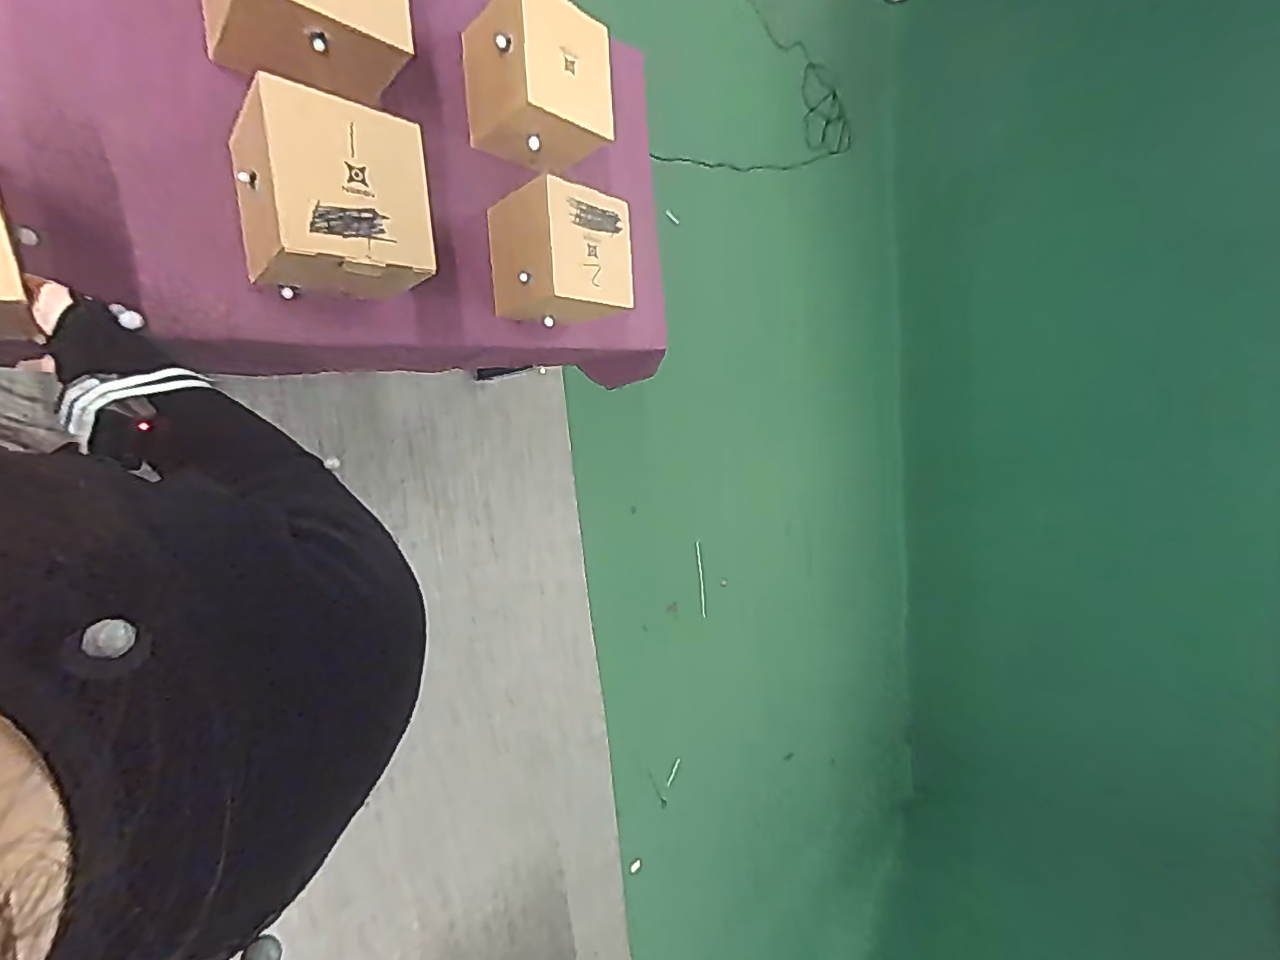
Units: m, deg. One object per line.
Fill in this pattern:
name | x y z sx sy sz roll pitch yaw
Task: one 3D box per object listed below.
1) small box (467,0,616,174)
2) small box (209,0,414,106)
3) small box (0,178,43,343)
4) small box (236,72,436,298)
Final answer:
small box | -0.158 -0.622 0.858 0.168 0.176 0.179 -8 96 -44
small box | -0.390 -0.578 0.631 0.179 0.176 0.168 -8 98 -45
small box | -0.610 -0.210 0.420 0.168 0.176 0.179 -16 101 -43
small box | -0.369 -0.330 0.656 0.168 0.176 0.179 -10 97 -44
